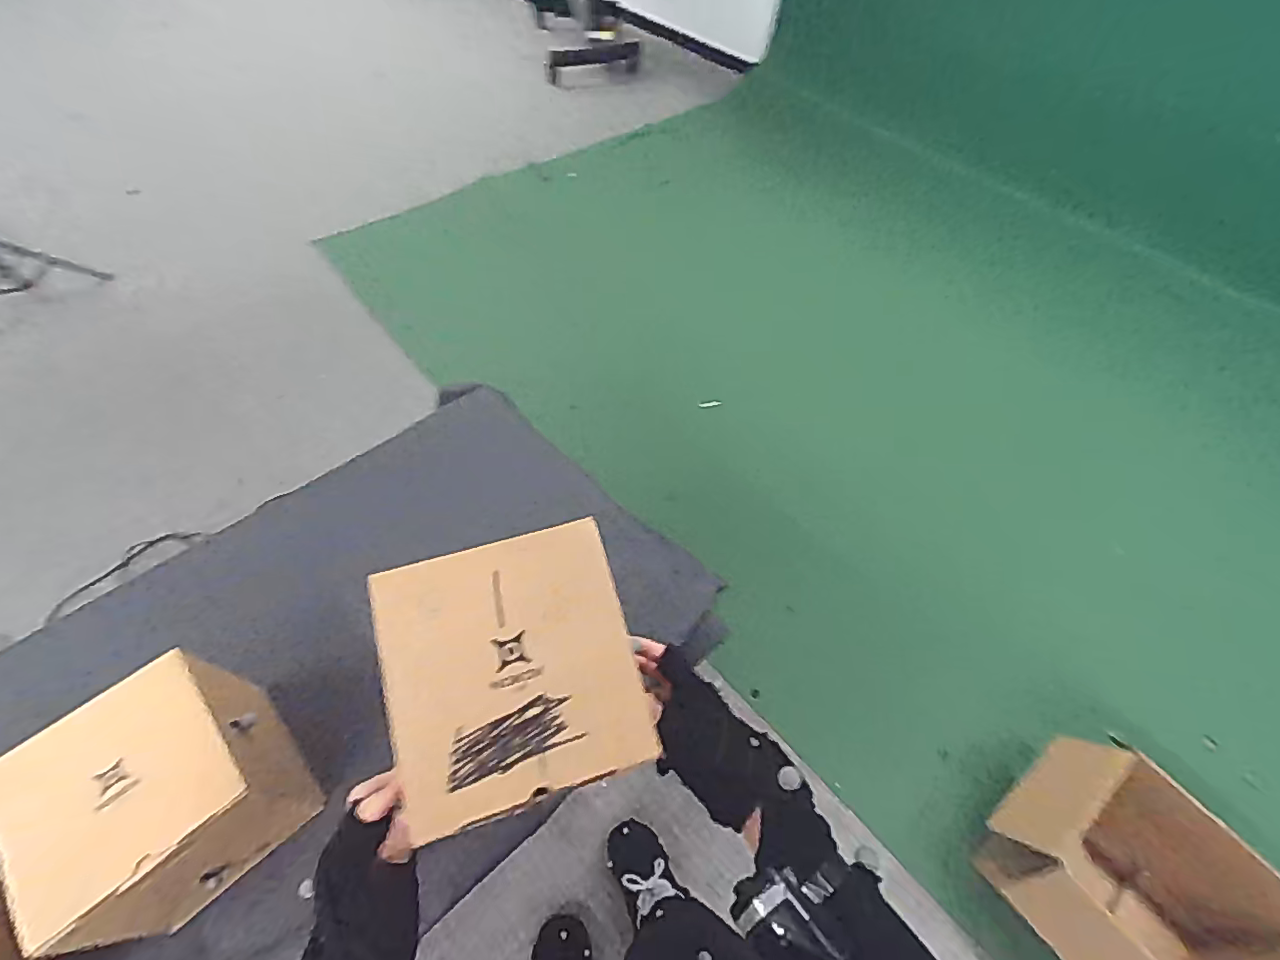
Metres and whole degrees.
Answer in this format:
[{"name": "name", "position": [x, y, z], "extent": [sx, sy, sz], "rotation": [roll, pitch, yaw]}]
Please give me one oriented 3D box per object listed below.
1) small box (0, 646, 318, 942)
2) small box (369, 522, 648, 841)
[{"name": "small box", "position": [-0.471, 0.308, 0.546], "extent": [0.168, 0.176, 0.179], "rotation": [-37, 66, -26]}, {"name": "small box", "position": [-0.098, 0.151, 0.444], "extent": [0.168, 0.176, 0.179], "rotation": [-13, 73, -10]}]
